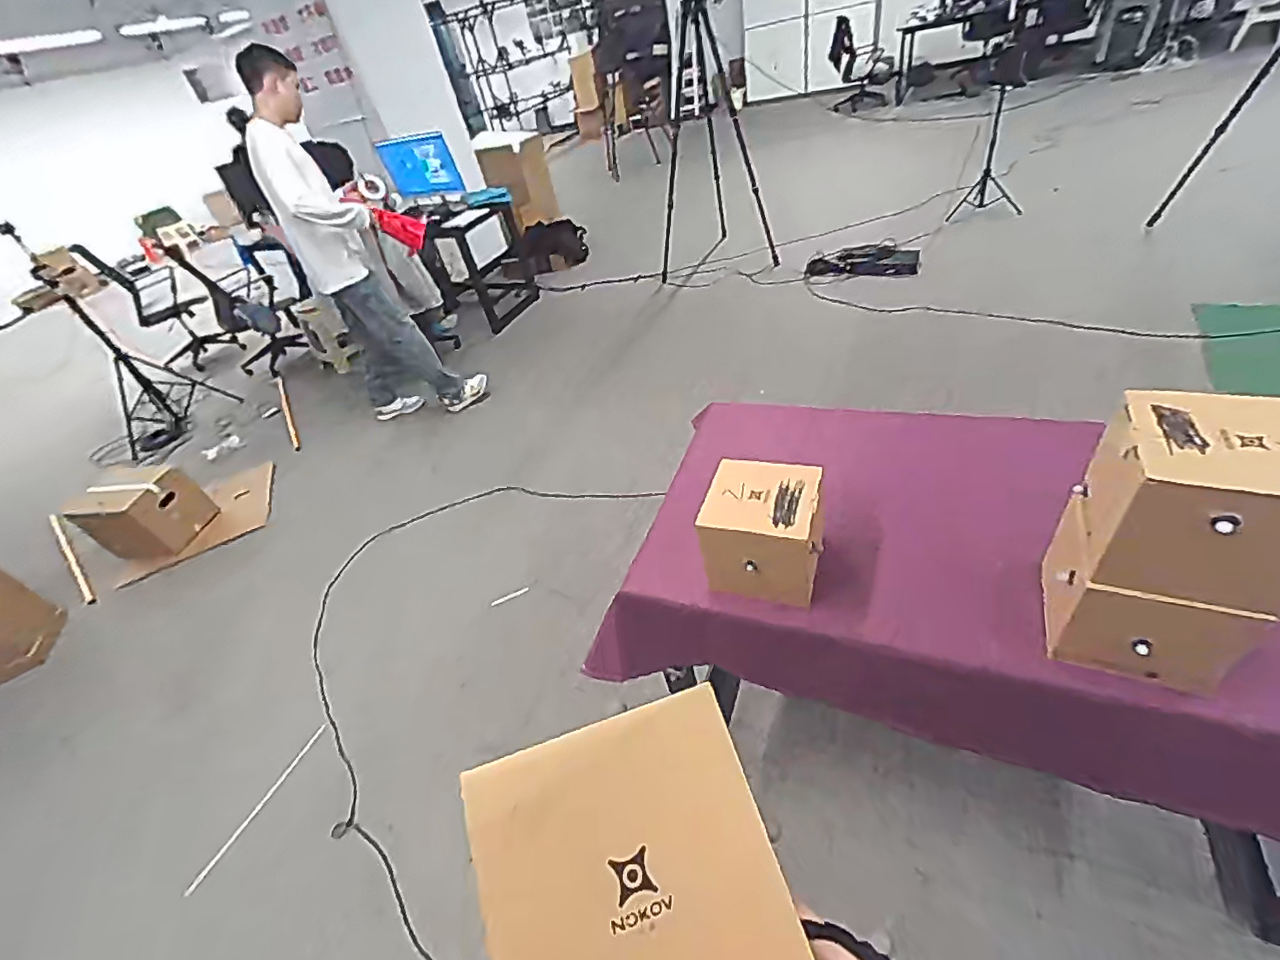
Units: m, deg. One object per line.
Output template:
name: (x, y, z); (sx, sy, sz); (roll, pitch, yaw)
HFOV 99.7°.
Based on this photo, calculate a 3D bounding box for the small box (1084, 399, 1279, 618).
small box: (0.632, 0.029, 0.608); (0.179, 0.176, 0.168); (10, 46, 26)

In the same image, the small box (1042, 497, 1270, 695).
small box: (0.655, 0.152, 0.716); (0.168, 0.176, 0.179); (10, 46, 26)
